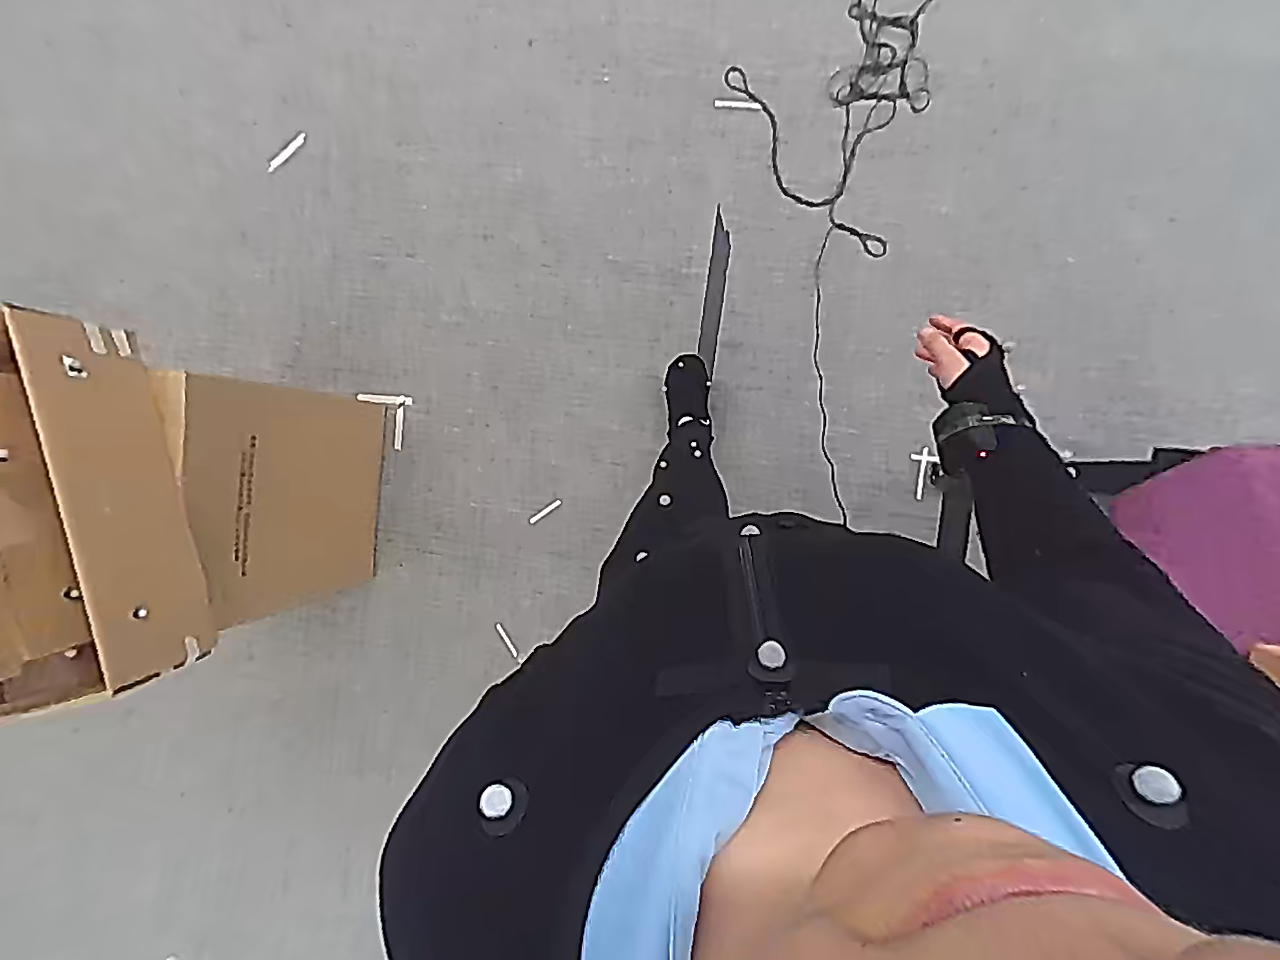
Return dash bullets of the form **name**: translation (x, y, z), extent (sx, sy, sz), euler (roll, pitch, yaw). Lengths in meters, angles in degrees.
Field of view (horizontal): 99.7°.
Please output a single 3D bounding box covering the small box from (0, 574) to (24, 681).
- **small box**: translation (-0.998, 0.214, 0.717), extent (0.168, 0.176, 0.179), euler (-10, 91, 6)
